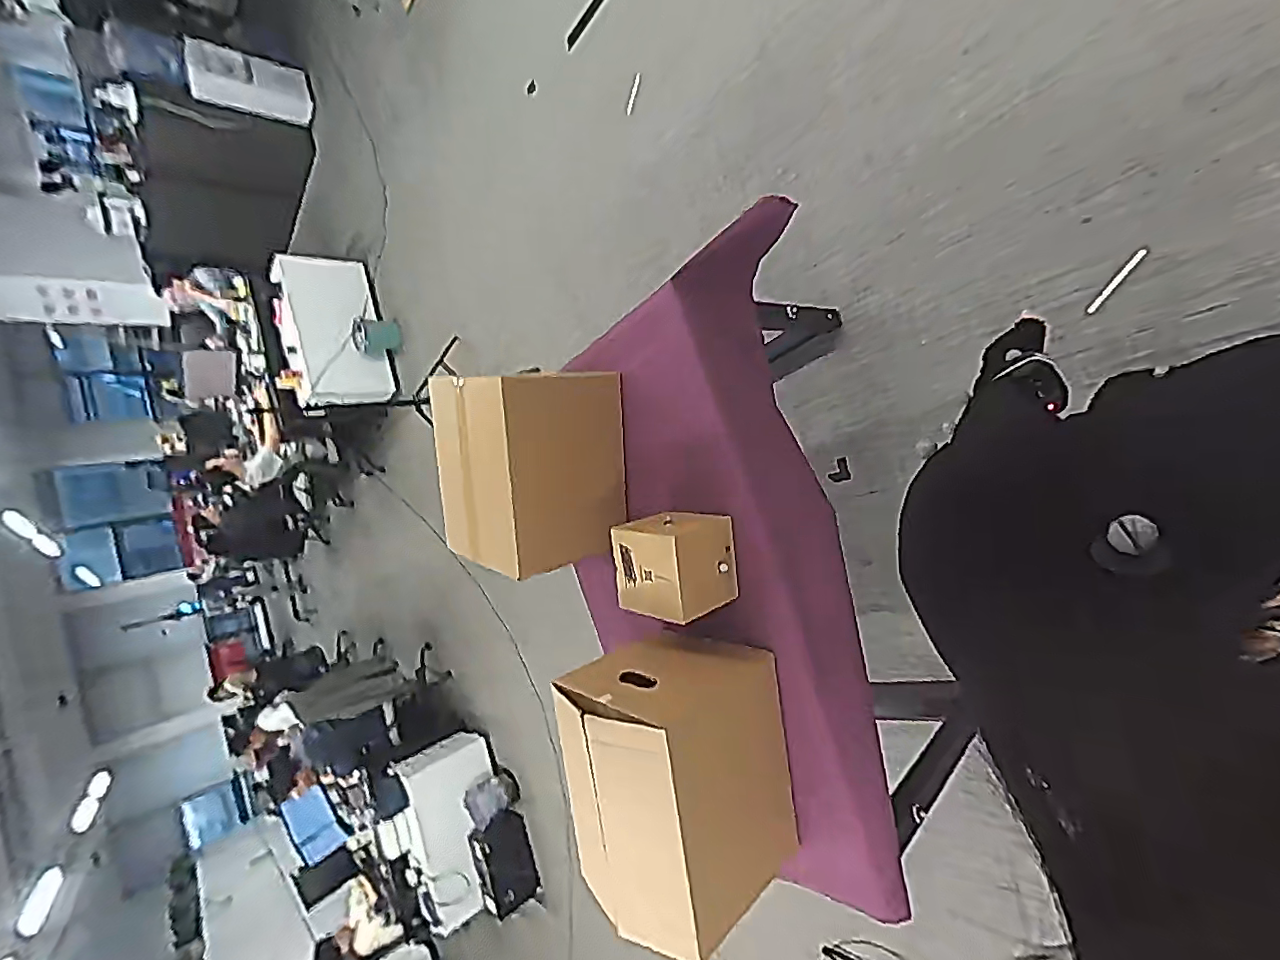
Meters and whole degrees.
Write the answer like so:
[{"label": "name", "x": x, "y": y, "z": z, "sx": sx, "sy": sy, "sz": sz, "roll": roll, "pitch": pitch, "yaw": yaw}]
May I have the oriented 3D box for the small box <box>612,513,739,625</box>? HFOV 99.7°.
[{"label": "small box", "x": 0.071, "y": 0.163, "z": 1.056, "sx": 0.179, "sy": 0.176, "sz": 0.168, "roll": 1, "pitch": 100, "yaw": 47}]
